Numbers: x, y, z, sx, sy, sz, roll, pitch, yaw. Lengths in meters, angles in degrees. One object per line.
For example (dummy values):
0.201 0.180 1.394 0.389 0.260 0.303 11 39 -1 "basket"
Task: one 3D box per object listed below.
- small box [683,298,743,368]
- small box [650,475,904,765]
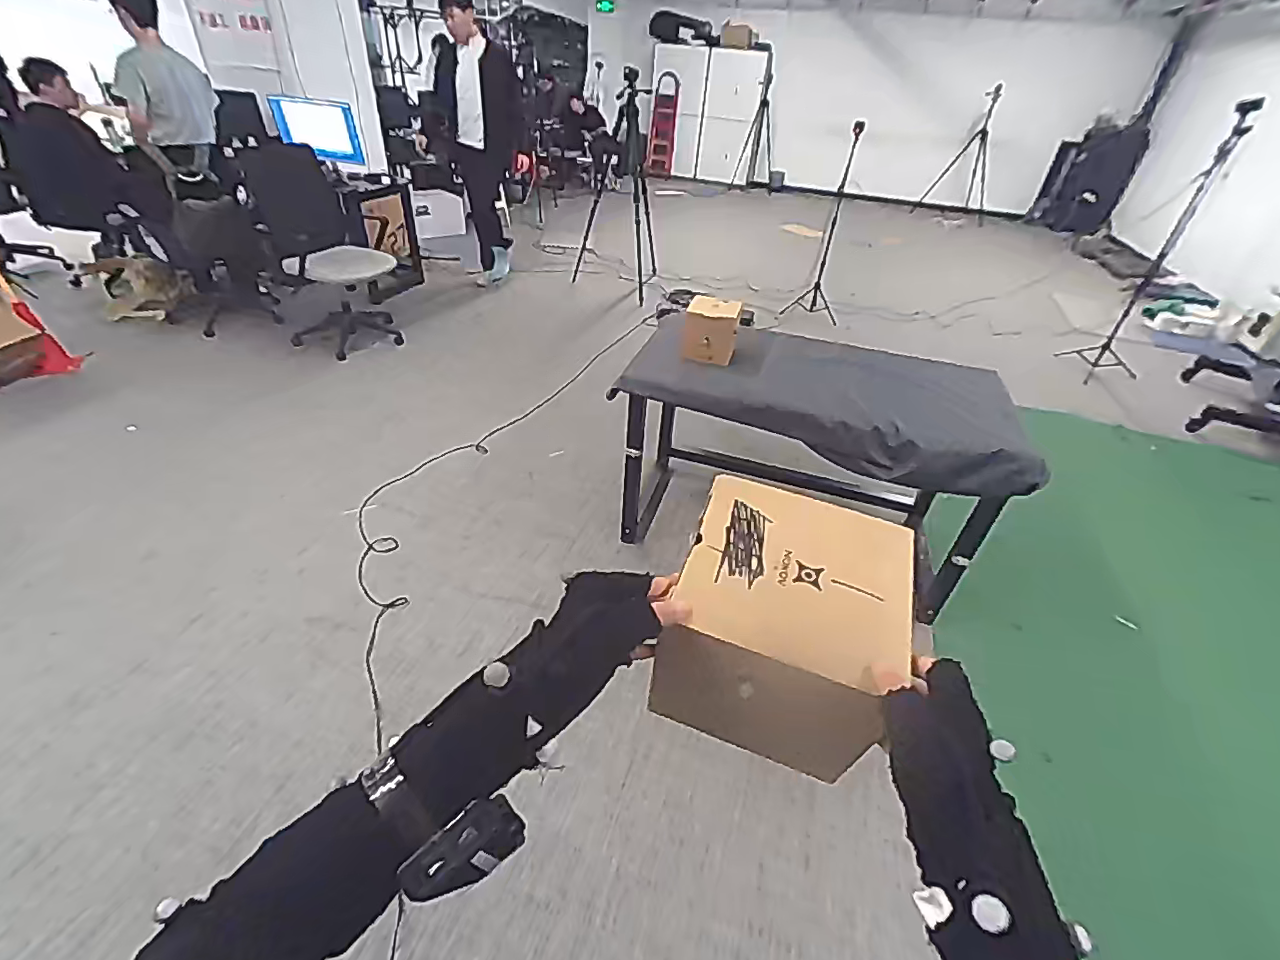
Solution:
0.248 -0.501 1.846 0.168 0.176 0.179 13 38 11 "small box"
0.116 0.127 0.491 0.179 0.176 0.168 17 47 12 "small box"
